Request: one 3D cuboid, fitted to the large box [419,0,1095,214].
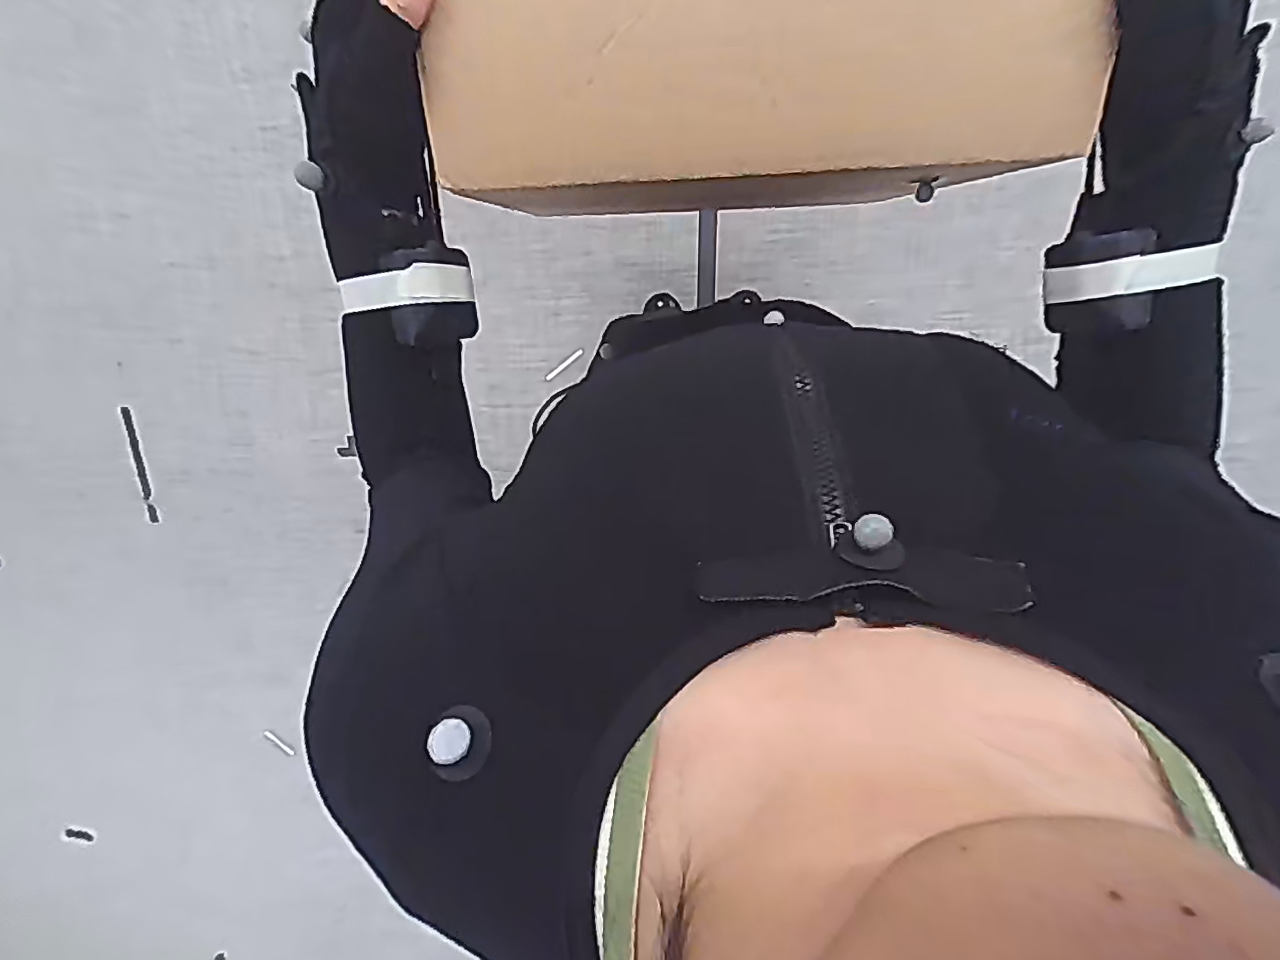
[{"bbox_3d":[0.068,-0.398,0.429,0.408,0.320,0.320,-2,113,2],"label":"large box"}]

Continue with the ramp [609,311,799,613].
[{"bbox_3d":[0.180,0.011,1.615,0.509,0.206,0.991,-2,108,3],"label":"ramp"}]
